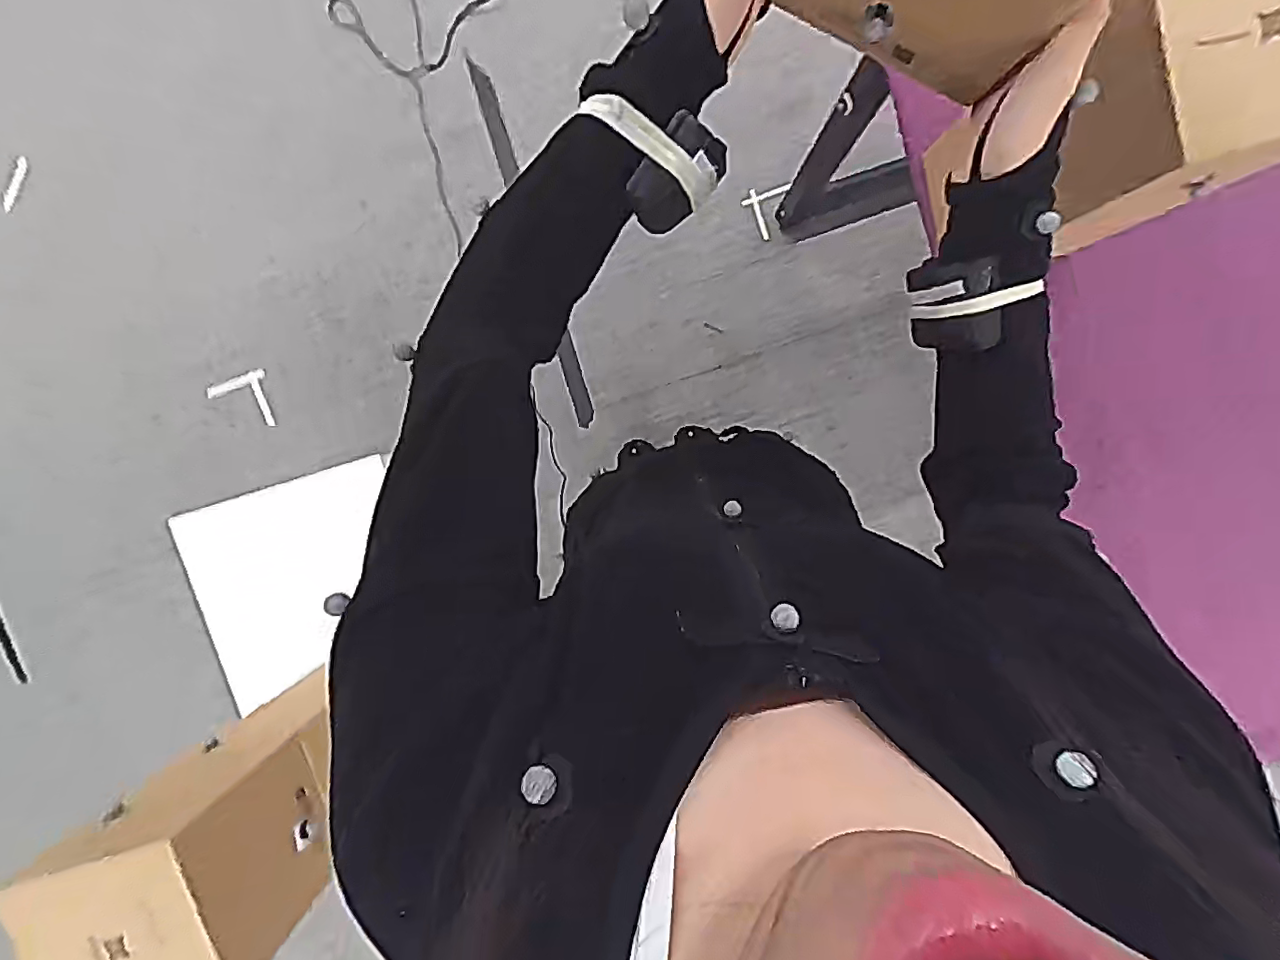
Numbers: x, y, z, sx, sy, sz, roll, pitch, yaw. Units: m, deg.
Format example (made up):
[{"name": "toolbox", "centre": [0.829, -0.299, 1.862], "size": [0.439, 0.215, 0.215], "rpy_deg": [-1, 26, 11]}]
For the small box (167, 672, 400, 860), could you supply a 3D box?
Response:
[{"name": "small box", "centre": [-0.442, 0.377, 0.706], "size": [0.179, 0.176, 0.168], "rpy_deg": [-18, 94, 3]}]

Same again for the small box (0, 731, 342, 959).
[{"name": "small box", "centre": [-0.448, 0.390, 0.544], "size": [0.179, 0.176, 0.168], "rpy_deg": [-18, 95, 3]}]

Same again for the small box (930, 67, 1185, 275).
[{"name": "small box", "centre": [0.478, -0.361, 0.644], "size": [0.168, 0.176, 0.179], "rpy_deg": [-13, 94, 2]}]

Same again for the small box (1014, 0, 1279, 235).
[{"name": "small box", "centre": [0.484, -0.346, 0.480], "size": [0.179, 0.176, 0.168], "rpy_deg": [-14, 95, 4]}]
